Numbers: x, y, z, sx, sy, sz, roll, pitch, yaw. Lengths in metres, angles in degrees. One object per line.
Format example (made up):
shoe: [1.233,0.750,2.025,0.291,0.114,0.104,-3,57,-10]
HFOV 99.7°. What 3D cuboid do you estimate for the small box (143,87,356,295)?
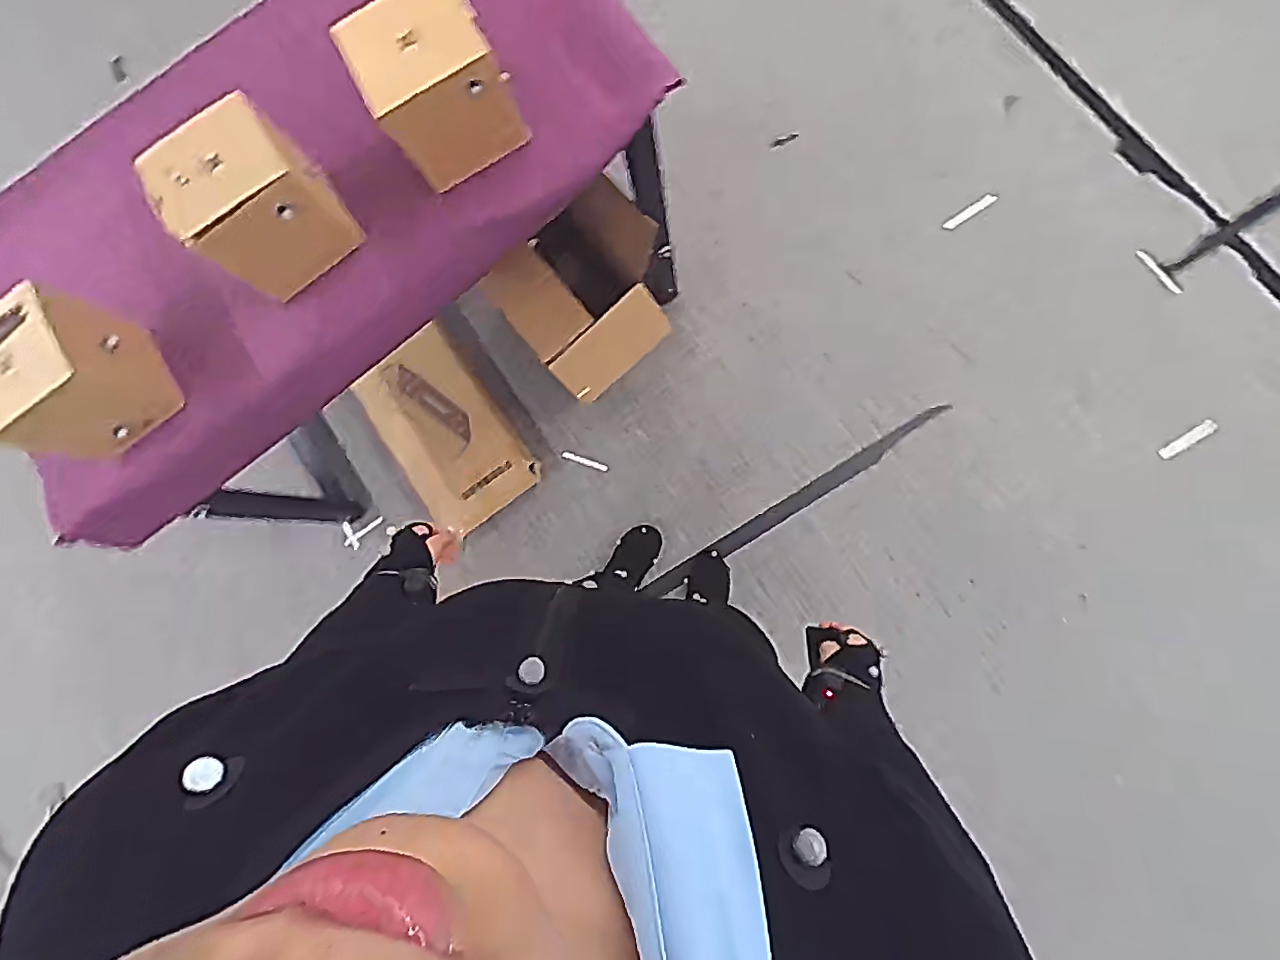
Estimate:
small box: [-0.565,-0.419,0.811,0.179,0.176,0.168,-35,78,2]

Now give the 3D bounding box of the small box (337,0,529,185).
small box: [-0.292,-0.583,0.796,0.179,0.176,0.168,-28,81,3]
